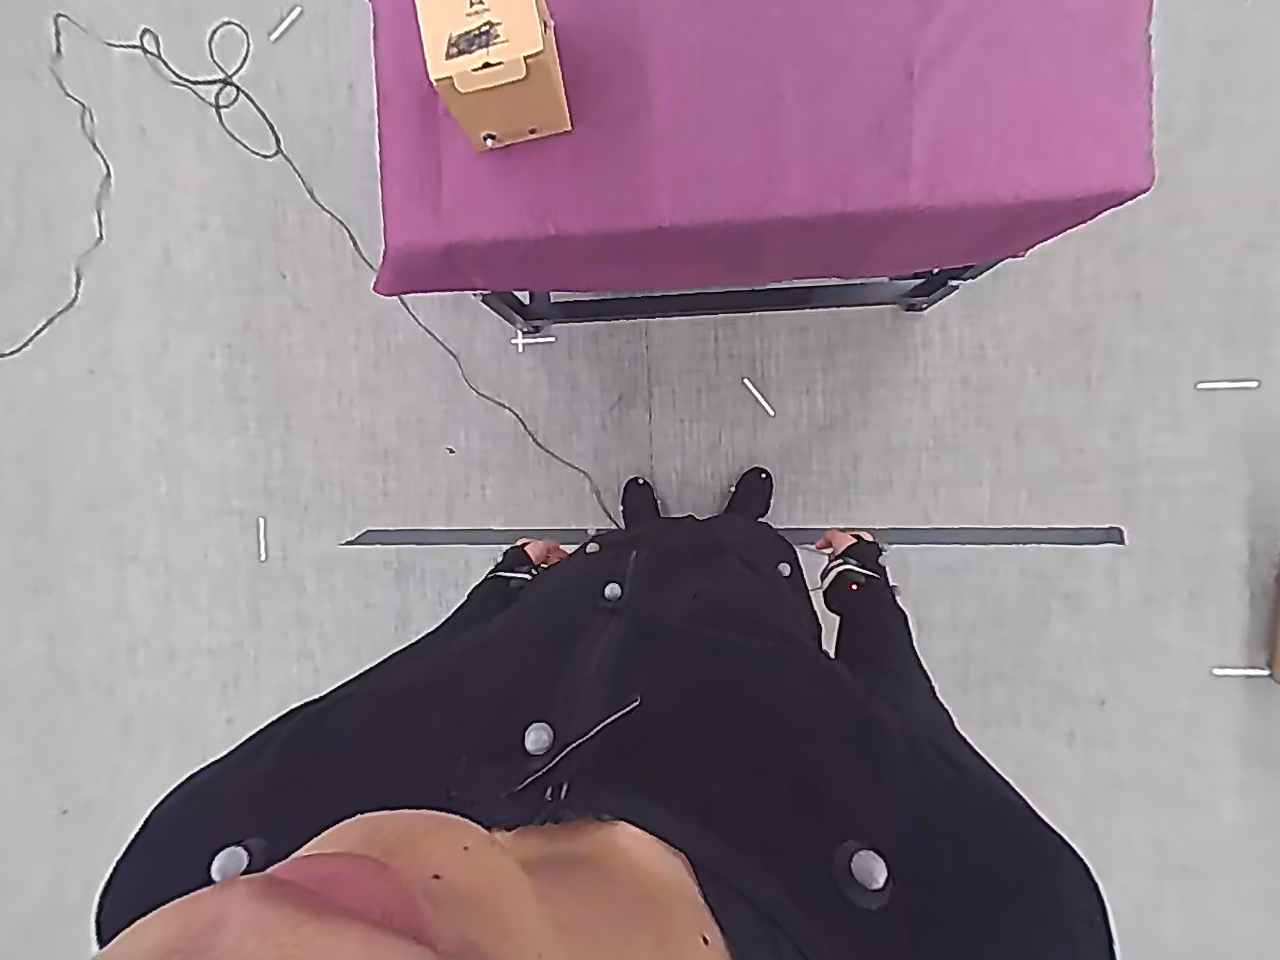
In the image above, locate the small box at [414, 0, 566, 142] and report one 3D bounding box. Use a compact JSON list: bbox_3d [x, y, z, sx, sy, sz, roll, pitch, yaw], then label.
[{"bbox_3d":[-0.217,-0.644,0.812,0.168,0.176,0.179,-10,90,5],"label":"small box"}]
